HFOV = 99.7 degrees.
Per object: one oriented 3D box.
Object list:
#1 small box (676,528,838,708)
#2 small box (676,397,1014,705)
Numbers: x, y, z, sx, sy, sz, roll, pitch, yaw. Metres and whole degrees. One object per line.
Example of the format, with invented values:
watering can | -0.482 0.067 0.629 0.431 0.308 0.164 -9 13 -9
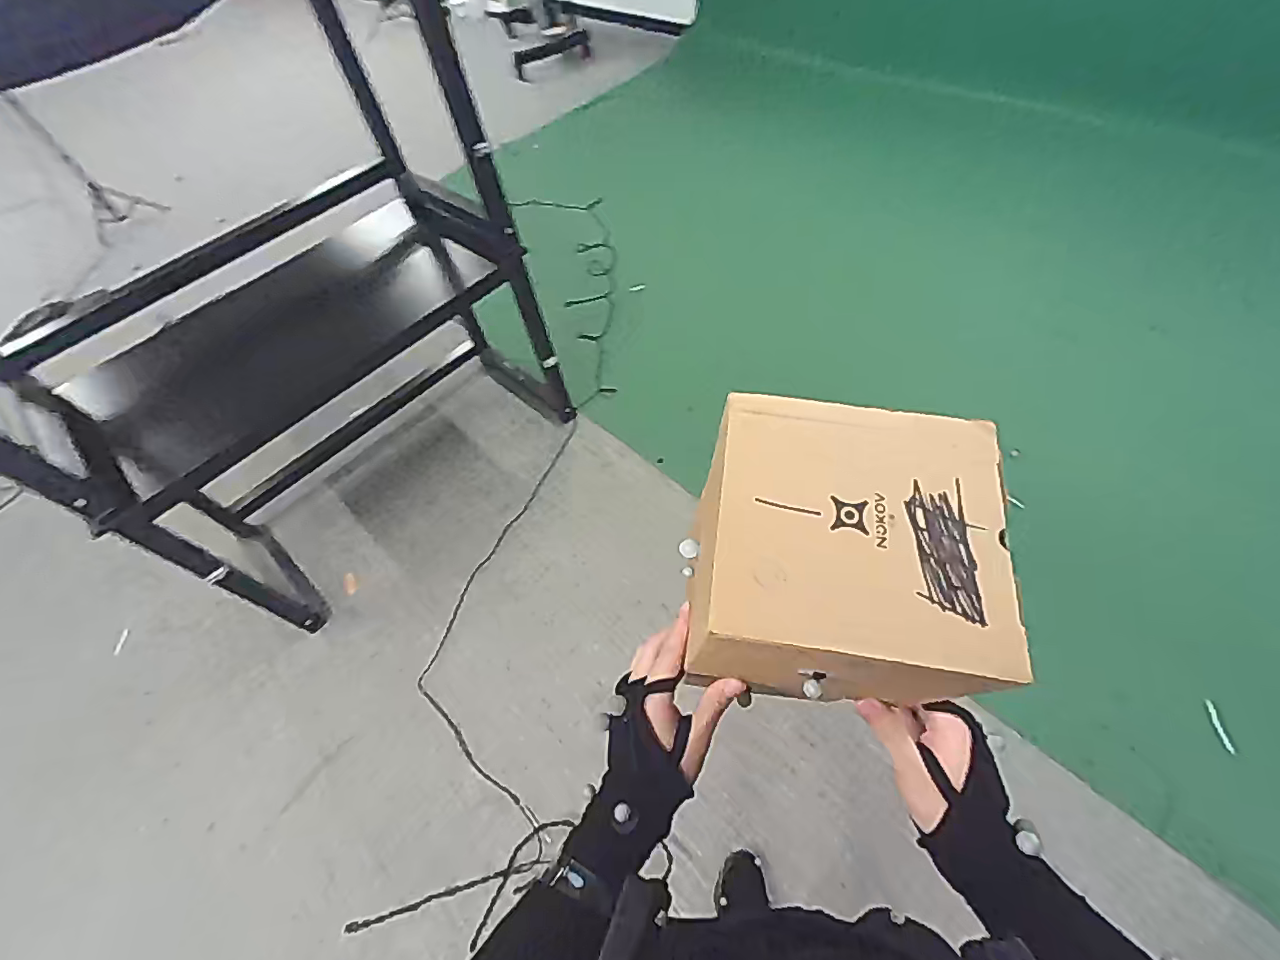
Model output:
small box | 0.128 0.124 0.551 0.168 0.176 0.179 6 63 3
small box | 0.126 0.063 0.398 0.179 0.176 0.168 8 63 5
